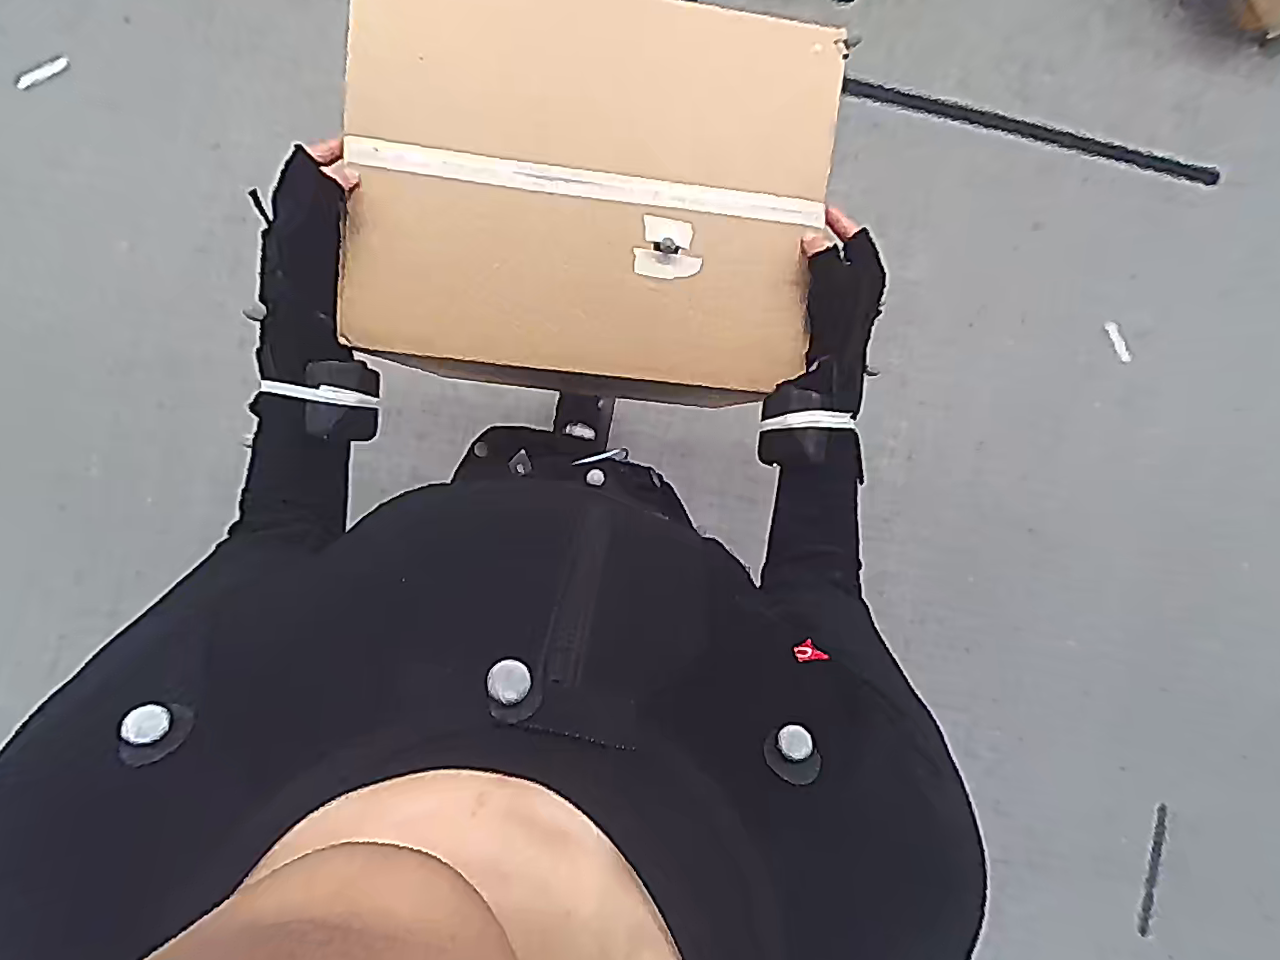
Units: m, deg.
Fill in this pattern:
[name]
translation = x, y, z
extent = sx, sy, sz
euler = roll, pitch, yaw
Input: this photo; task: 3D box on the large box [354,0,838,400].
[large box]
translation = -0.051, -0.270, 0.615
extent = 0.408, 0.320, 0.320
euler = 6, 96, -7
